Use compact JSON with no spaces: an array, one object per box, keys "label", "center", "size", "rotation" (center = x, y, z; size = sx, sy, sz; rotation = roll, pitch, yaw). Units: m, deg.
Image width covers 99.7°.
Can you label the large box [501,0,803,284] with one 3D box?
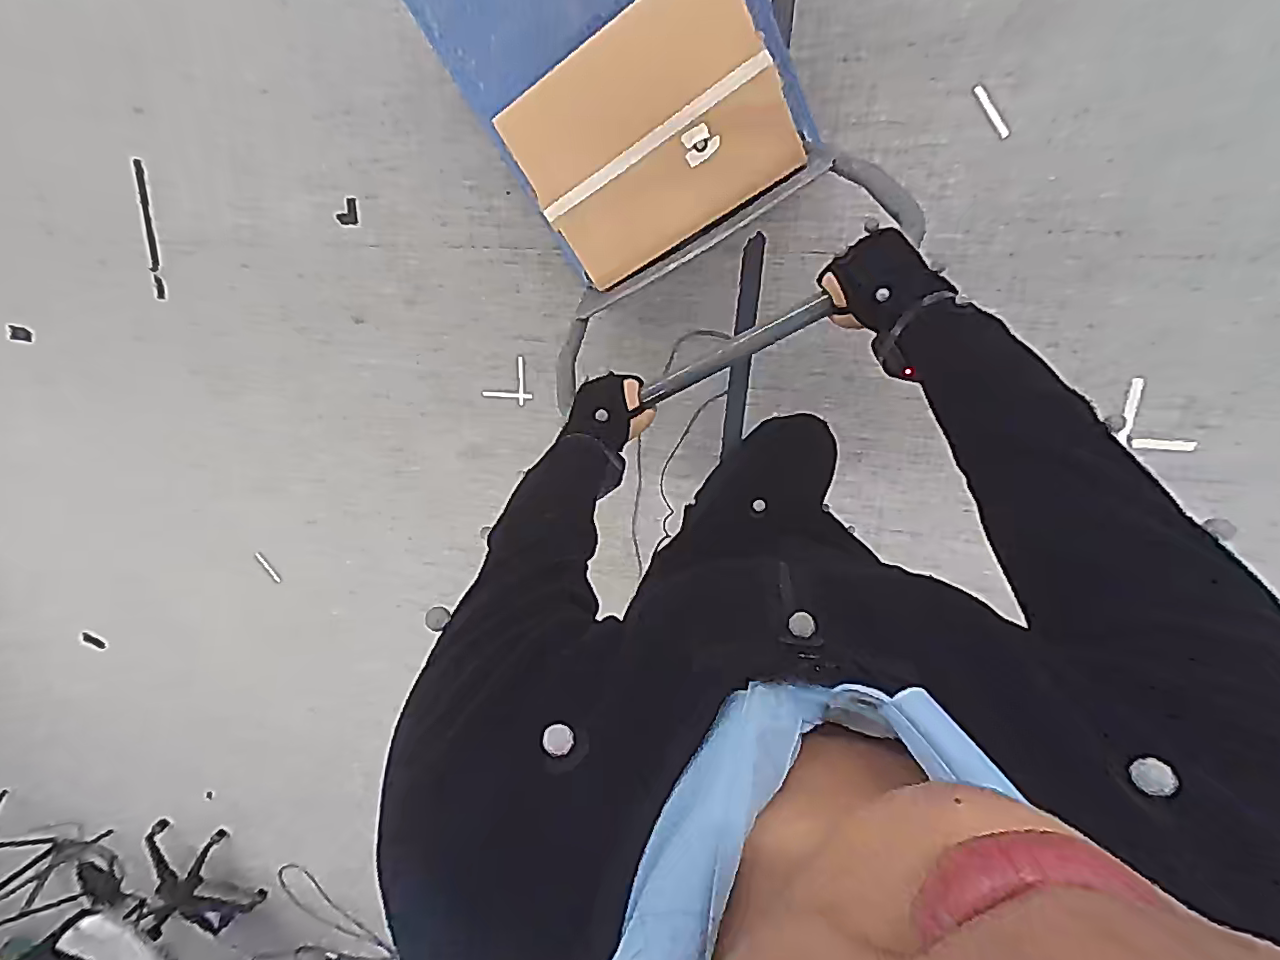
[{"label":"large box","center":[0.026,-0.632,0.994],"size":[0.408,0.320,0.320],"rotation":[-27,118,19]}]
